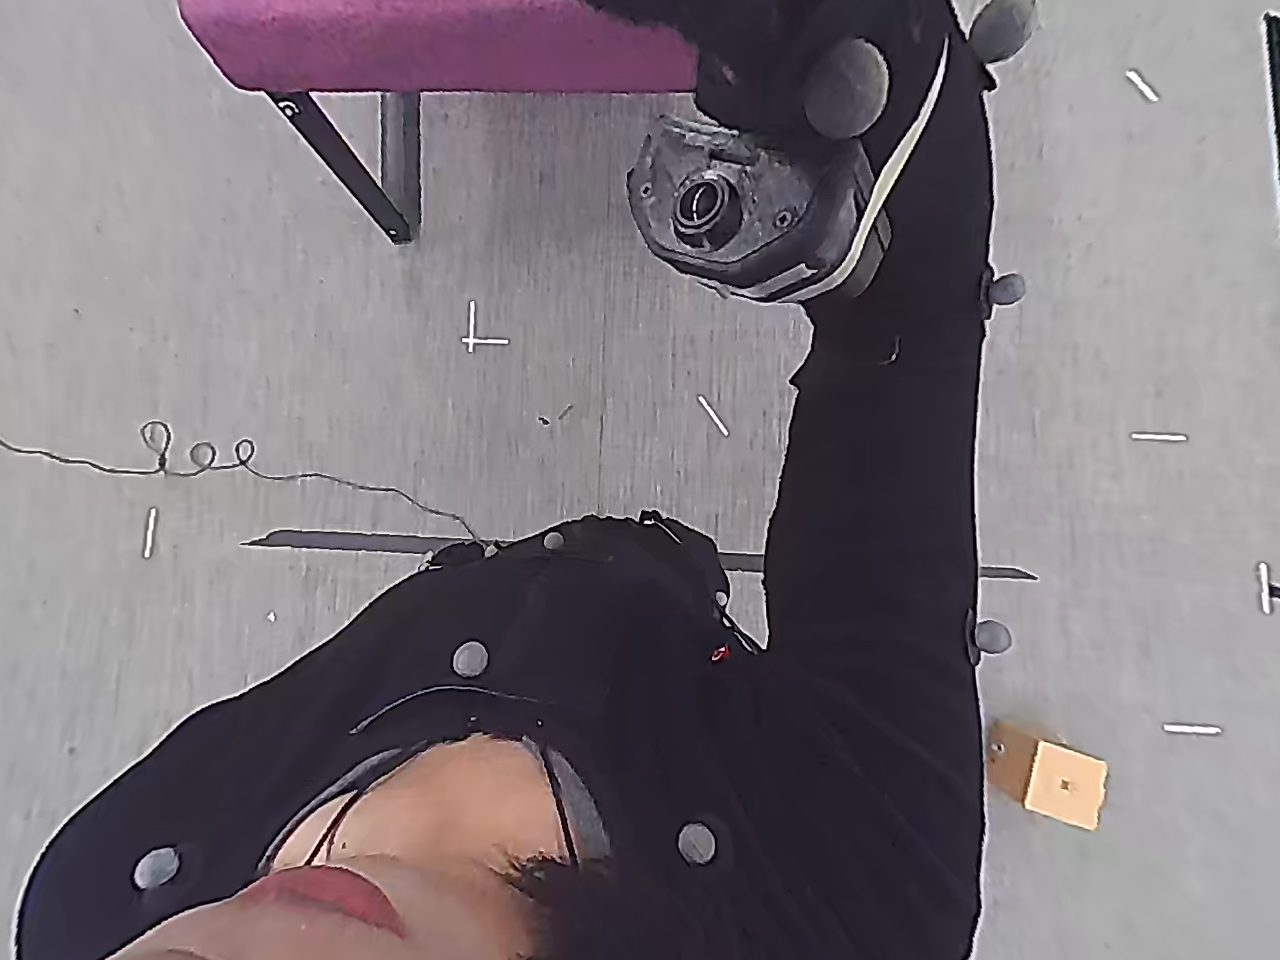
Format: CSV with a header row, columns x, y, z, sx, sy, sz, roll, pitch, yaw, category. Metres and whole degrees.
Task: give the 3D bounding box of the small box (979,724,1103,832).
x,y,z,sx,sy,sz,roll,pitch,yaw,category
1.016,0.750,1.381,0.179,0.176,0.168,17,83,3,small box
